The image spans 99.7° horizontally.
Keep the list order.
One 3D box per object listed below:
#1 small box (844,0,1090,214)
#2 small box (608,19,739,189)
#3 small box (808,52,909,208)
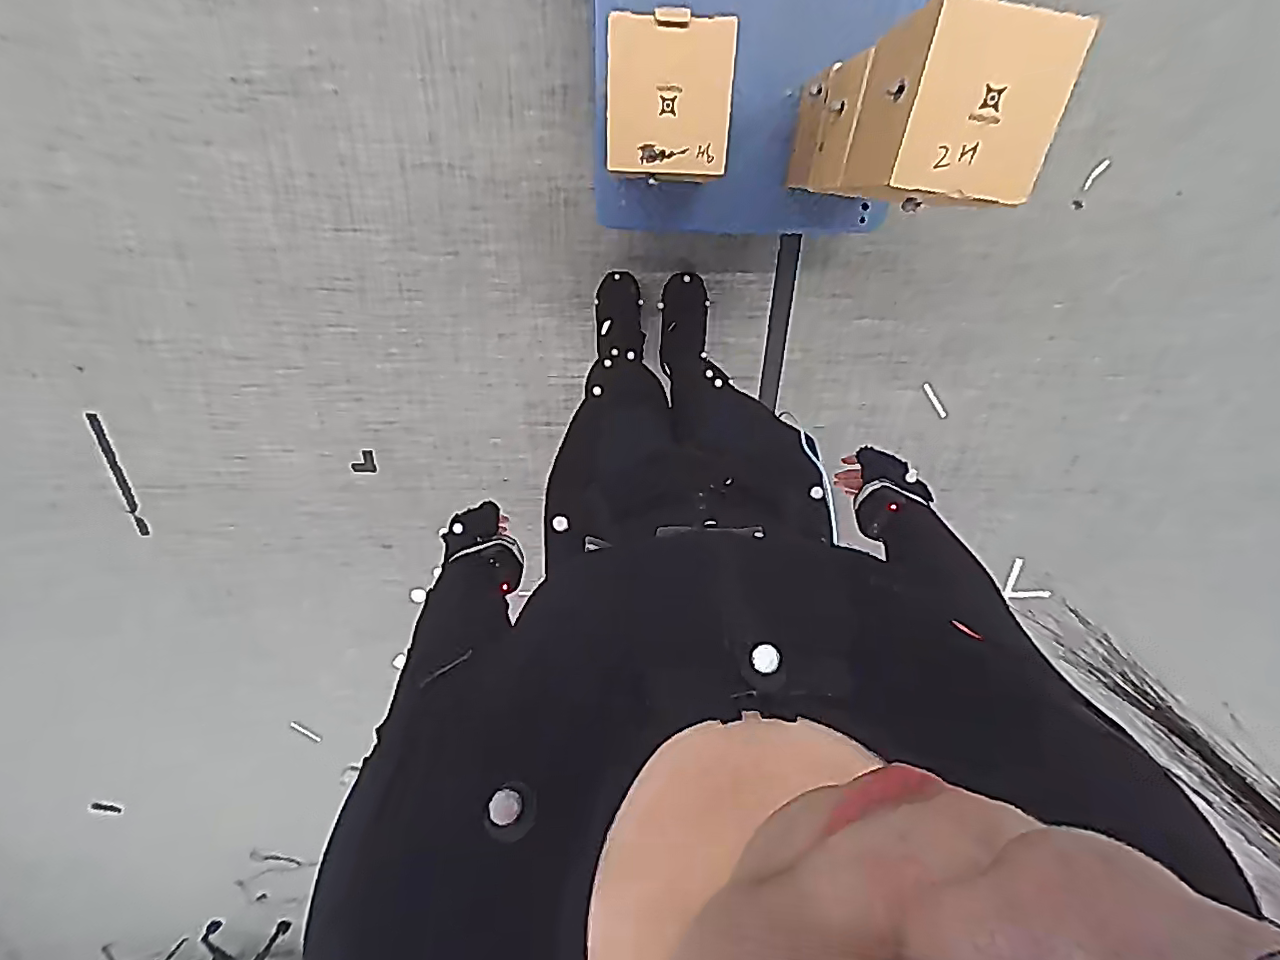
[{"bbox_3d":[0.370,-0.432,0.656,0.168,0.176,0.179,7,117,-4],"label":"small box"},{"bbox_3d":[0.040,-0.532,0.788,0.168,0.176,0.179,2,117,-1],"label":"small box"},{"bbox_3d":[0.370,-0.505,0.804,0.179,0.176,0.168,5,117,-3],"label":"small box"}]
